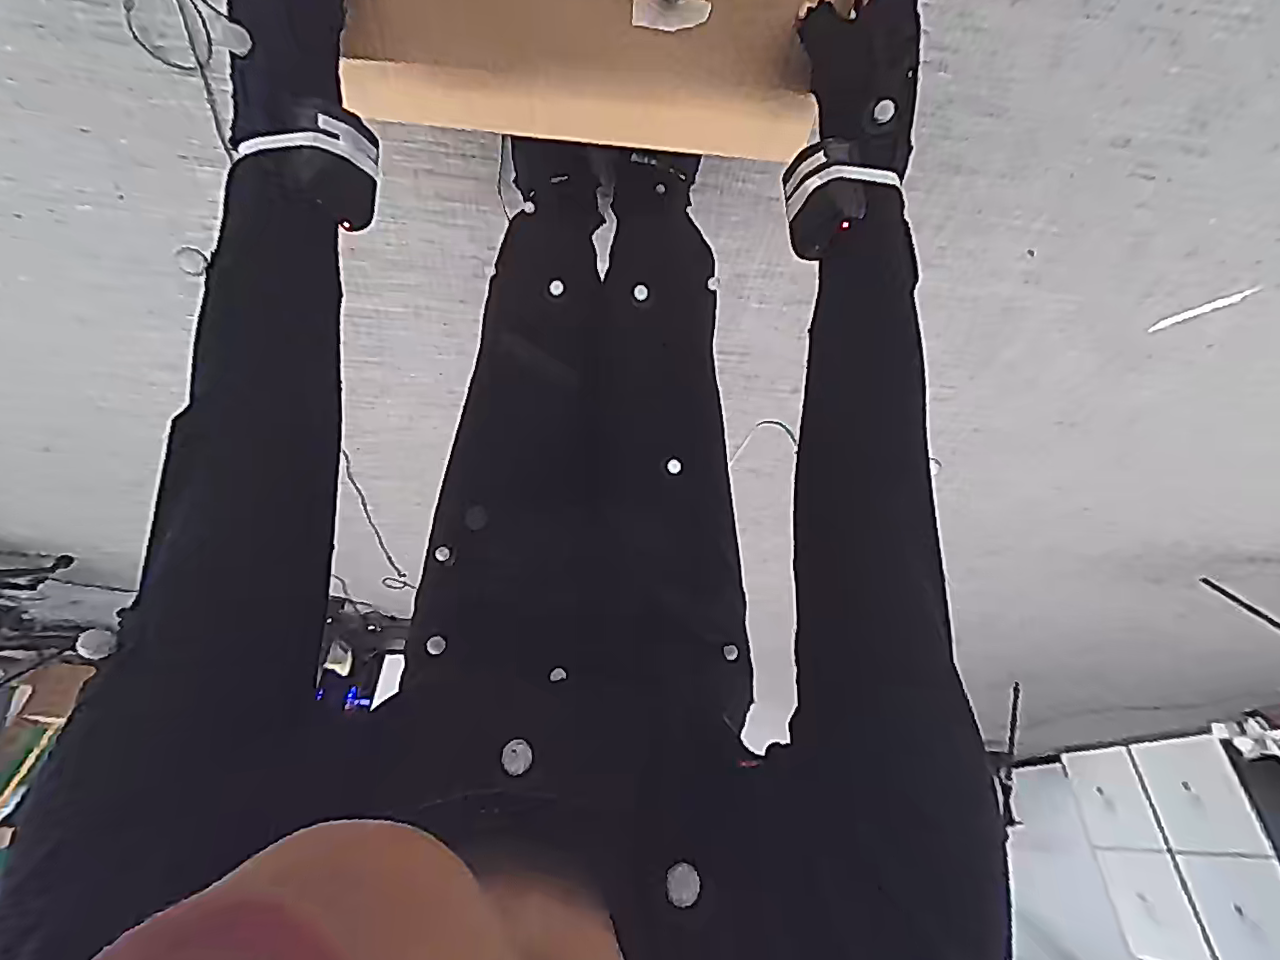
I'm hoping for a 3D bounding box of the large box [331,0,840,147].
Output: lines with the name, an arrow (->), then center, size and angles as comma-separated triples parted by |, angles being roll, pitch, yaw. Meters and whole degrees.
large box -> -0.041, -0.528, 0.457 | 0.408, 0.320, 0.320 | 2, 146, -5
